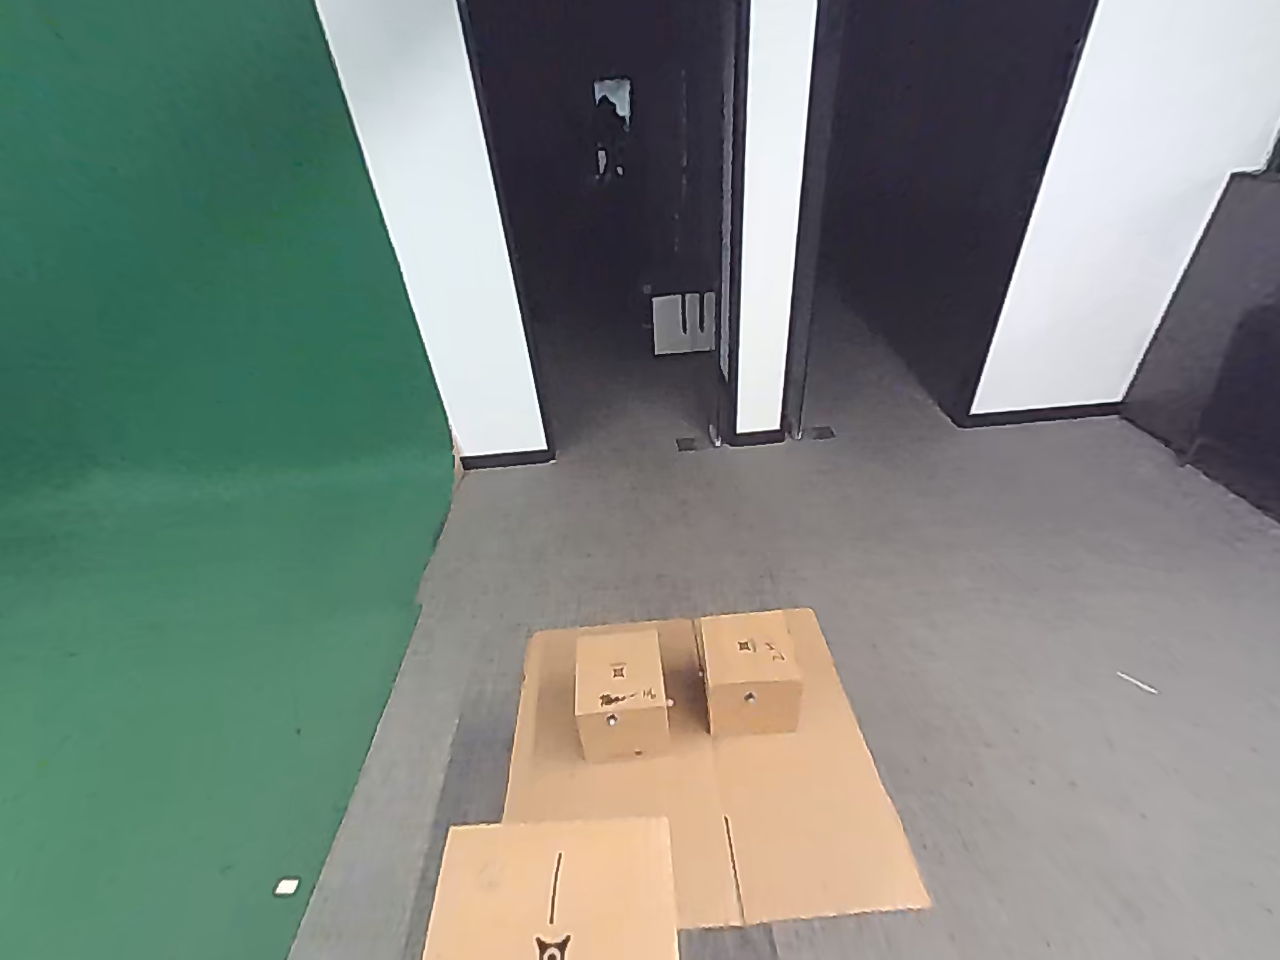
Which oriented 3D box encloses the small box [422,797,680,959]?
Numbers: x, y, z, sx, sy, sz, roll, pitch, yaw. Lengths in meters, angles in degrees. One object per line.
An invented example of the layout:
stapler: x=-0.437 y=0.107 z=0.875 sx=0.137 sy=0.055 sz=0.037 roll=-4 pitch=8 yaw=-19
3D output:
small box: x=-0.053 y=0.362 z=0.398 sx=0.168 sy=0.176 sz=0.179 roll=-3 pitch=40 yaw=0

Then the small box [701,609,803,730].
small box: x=0.221 y=0.385 z=1.093 sx=0.179 sy=0.176 sz=0.168 roll=-5 pitch=35 yaw=4

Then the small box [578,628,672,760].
small box: x=-0.028 y=0.422 z=1.073 sx=0.168 sy=0.176 sz=0.179 roll=-6 pitch=34 yaw=0
